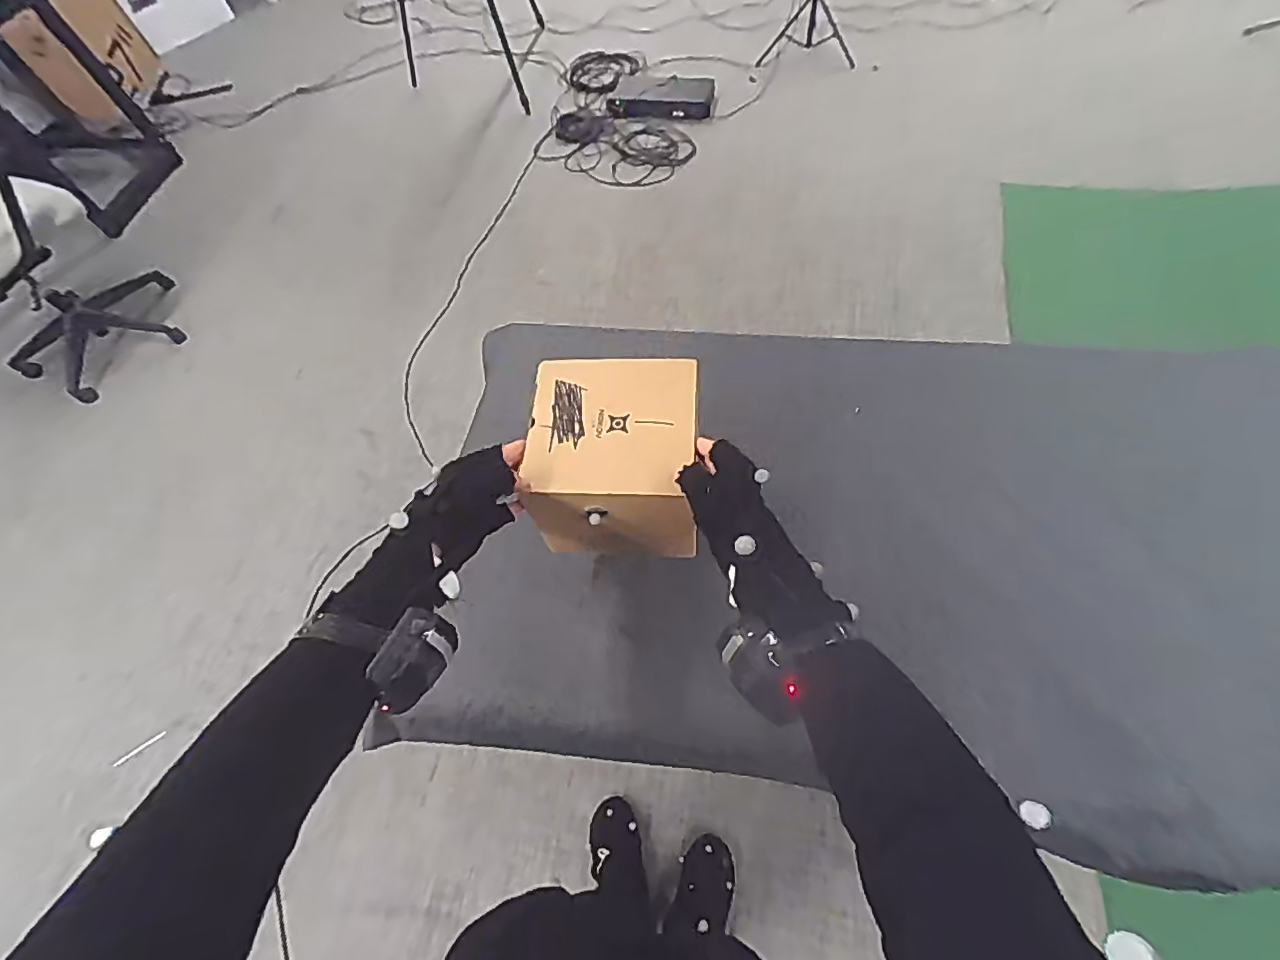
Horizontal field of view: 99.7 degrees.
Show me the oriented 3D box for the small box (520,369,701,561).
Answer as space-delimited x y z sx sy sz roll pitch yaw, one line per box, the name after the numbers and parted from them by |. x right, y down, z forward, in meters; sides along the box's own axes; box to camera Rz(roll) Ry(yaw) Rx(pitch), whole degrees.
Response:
-0.020 -0.011 0.629 0.179 0.176 0.168 1 62 6 | small box
